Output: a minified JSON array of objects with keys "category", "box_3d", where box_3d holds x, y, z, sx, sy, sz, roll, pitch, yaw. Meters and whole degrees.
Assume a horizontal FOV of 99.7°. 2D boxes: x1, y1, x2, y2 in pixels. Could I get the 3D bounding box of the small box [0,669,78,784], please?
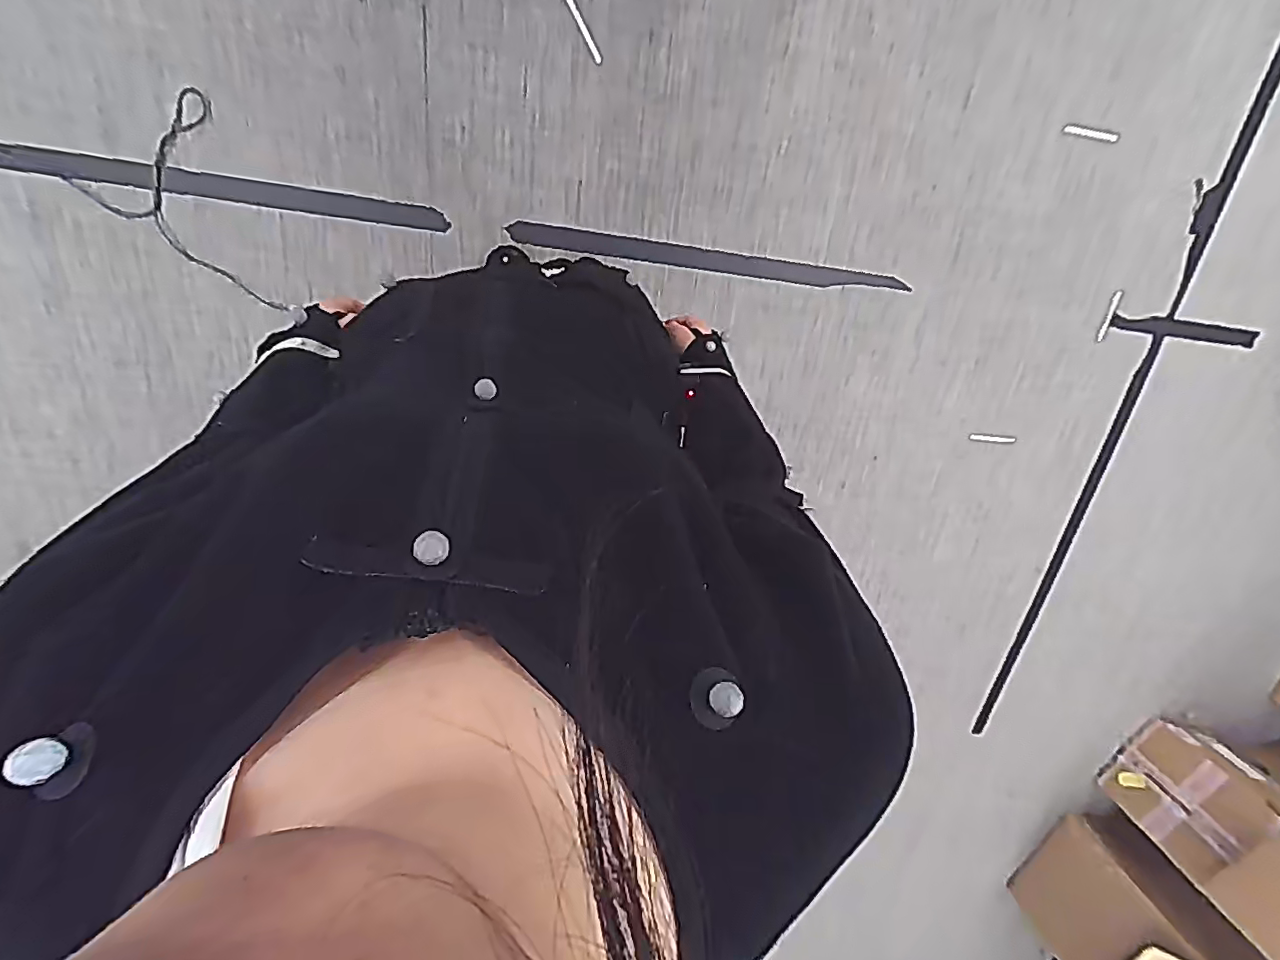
[{"category":"small box","box_3d":[-1.415,0.554,1.178,0.168,0.176,0.179,-34,111,6]}]
